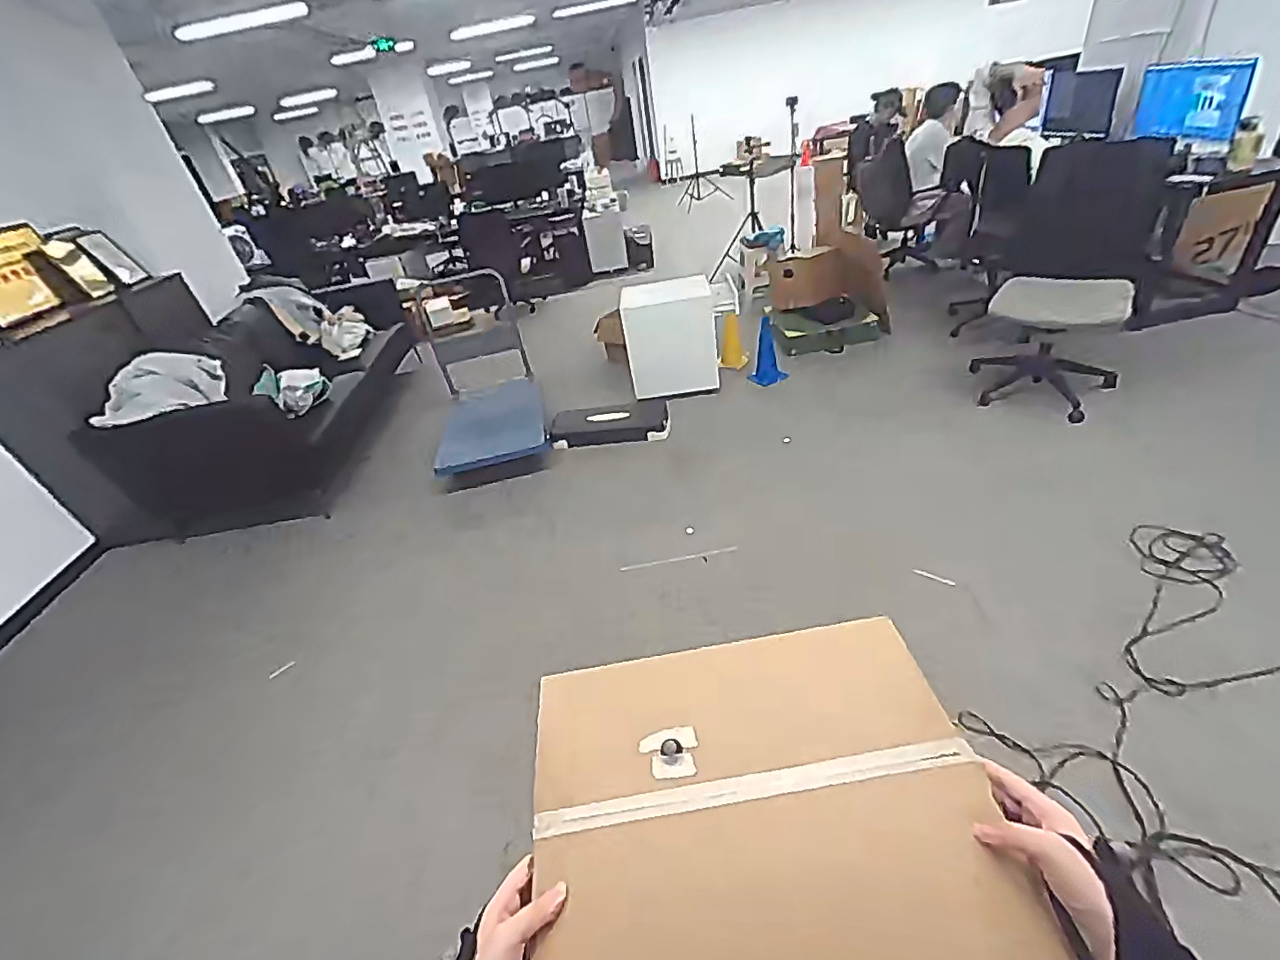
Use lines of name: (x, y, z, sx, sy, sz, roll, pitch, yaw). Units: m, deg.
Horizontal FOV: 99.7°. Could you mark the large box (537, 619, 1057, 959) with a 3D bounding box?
large box: (0.126, 0.407, 0.606, 0.408, 0.320, 0.320, -12, 38, 2)
